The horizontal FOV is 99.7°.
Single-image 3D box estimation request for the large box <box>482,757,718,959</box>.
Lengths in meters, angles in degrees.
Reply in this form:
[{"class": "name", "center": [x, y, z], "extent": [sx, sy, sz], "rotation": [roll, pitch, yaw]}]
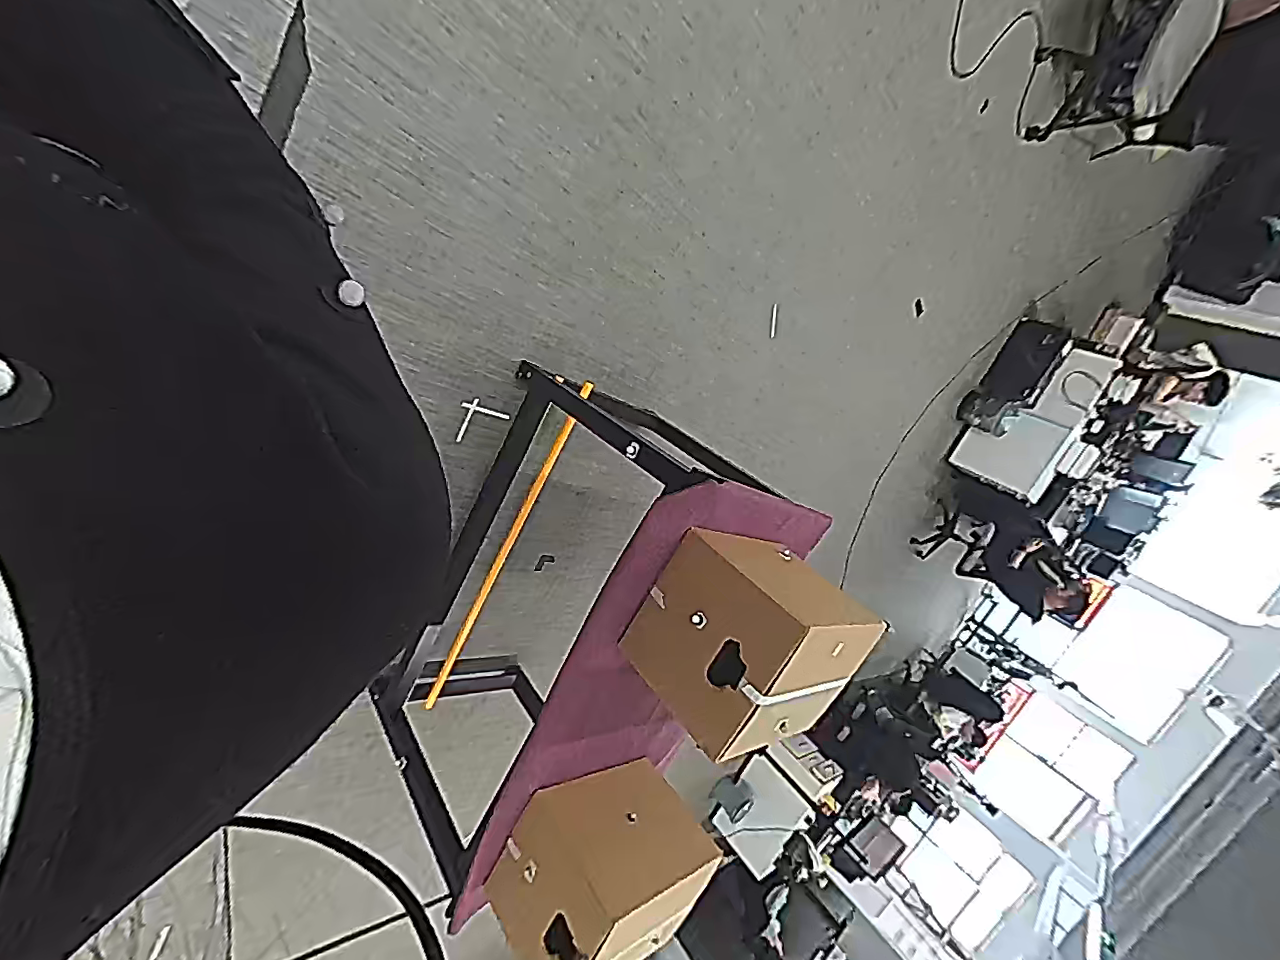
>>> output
[{"class": "large box", "center": [-0.095, 0.937, 1.297], "extent": [0.408, 0.320, 0.320], "rotation": [15, 108, -49]}]
